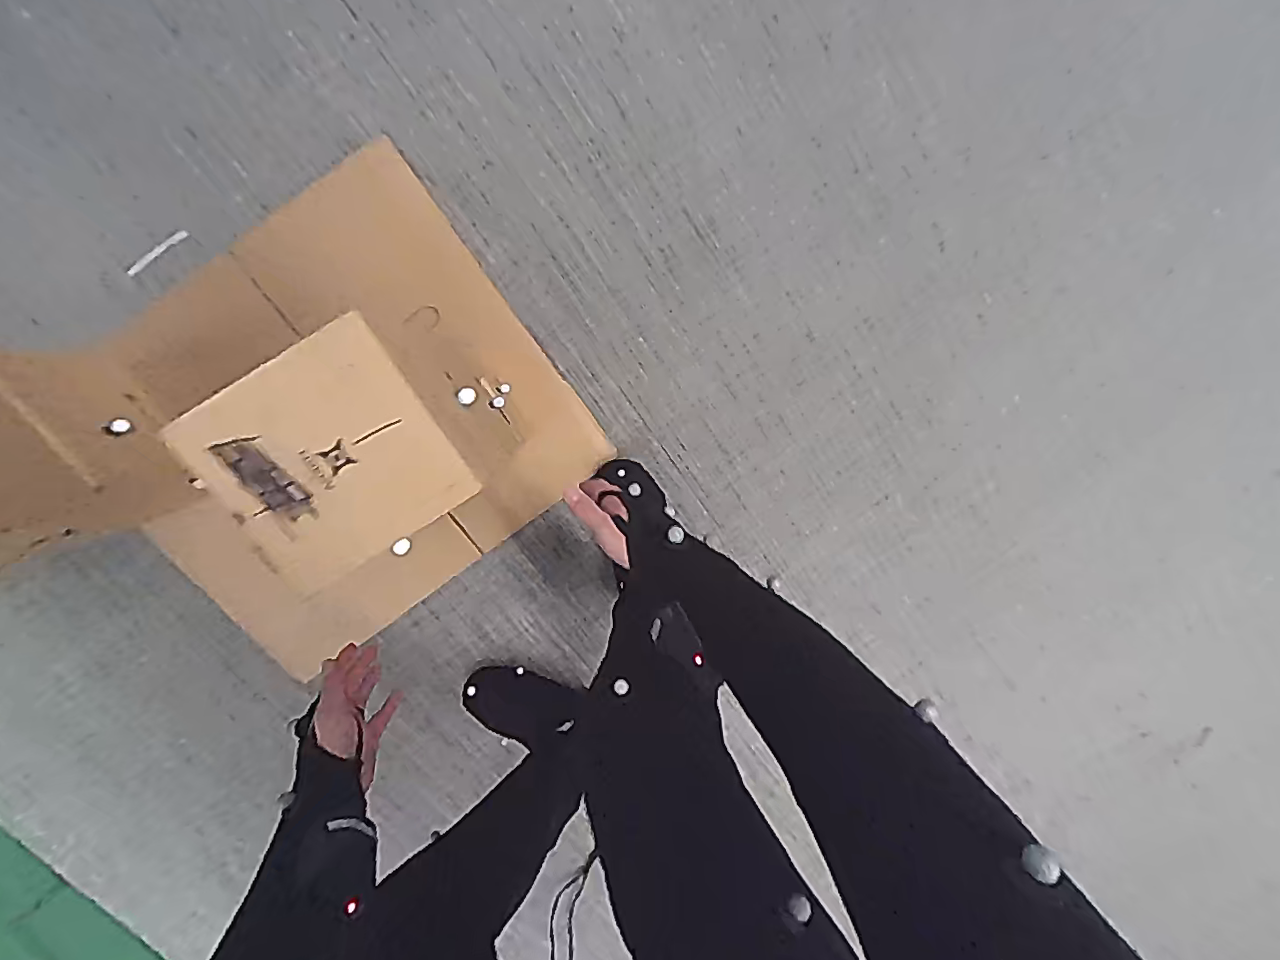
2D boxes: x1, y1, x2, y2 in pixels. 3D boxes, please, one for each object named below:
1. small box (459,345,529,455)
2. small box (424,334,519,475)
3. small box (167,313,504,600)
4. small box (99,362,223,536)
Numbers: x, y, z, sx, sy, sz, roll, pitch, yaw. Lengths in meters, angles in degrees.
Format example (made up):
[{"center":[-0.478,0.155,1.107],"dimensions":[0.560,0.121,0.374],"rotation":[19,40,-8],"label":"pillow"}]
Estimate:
[{"center":[-0.281,-0.086,0.813],"dimensions":[0.179,0.176,0.168],"rotation":[-33,102,1],"label":"small box"},{"center":[-0.266,-0.057,0.653],"dimensions":[0.179,0.176,0.168],"rotation":[-31,103,0],"label":"small box"},{"center":[-0.246,-0.028,0.493],"dimensions":[0.179,0.176,0.168],"rotation":[-32,104,0],"label":"small box"},{"center":[-0.692,-0.053,0.770],"dimensions":[0.179,0.176,0.168],"rotation":[-35,102,1],"label":"small box"}]
